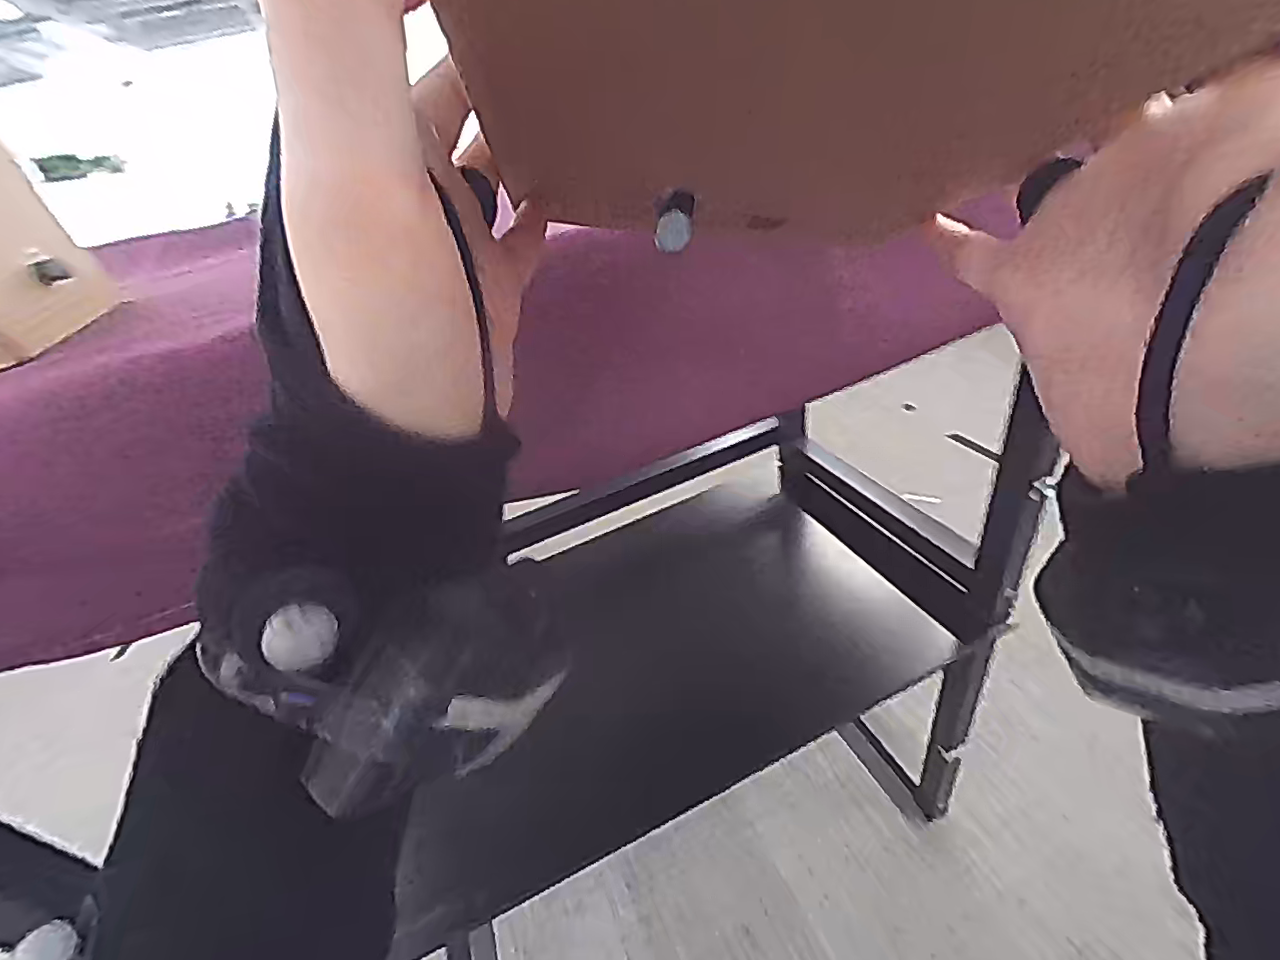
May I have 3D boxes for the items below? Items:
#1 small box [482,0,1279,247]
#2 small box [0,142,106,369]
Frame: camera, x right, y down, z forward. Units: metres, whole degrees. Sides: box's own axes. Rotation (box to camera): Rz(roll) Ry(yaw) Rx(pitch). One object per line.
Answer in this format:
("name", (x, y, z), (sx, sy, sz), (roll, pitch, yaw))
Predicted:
("small box", (0.044, -0.183, 0.147), (0.168, 0.179, 0.176), (2, 9, -5))
("small box", (-0.500, -0.148, 0.333), (0.168, 0.176, 0.179), (-24, 36, -13))
